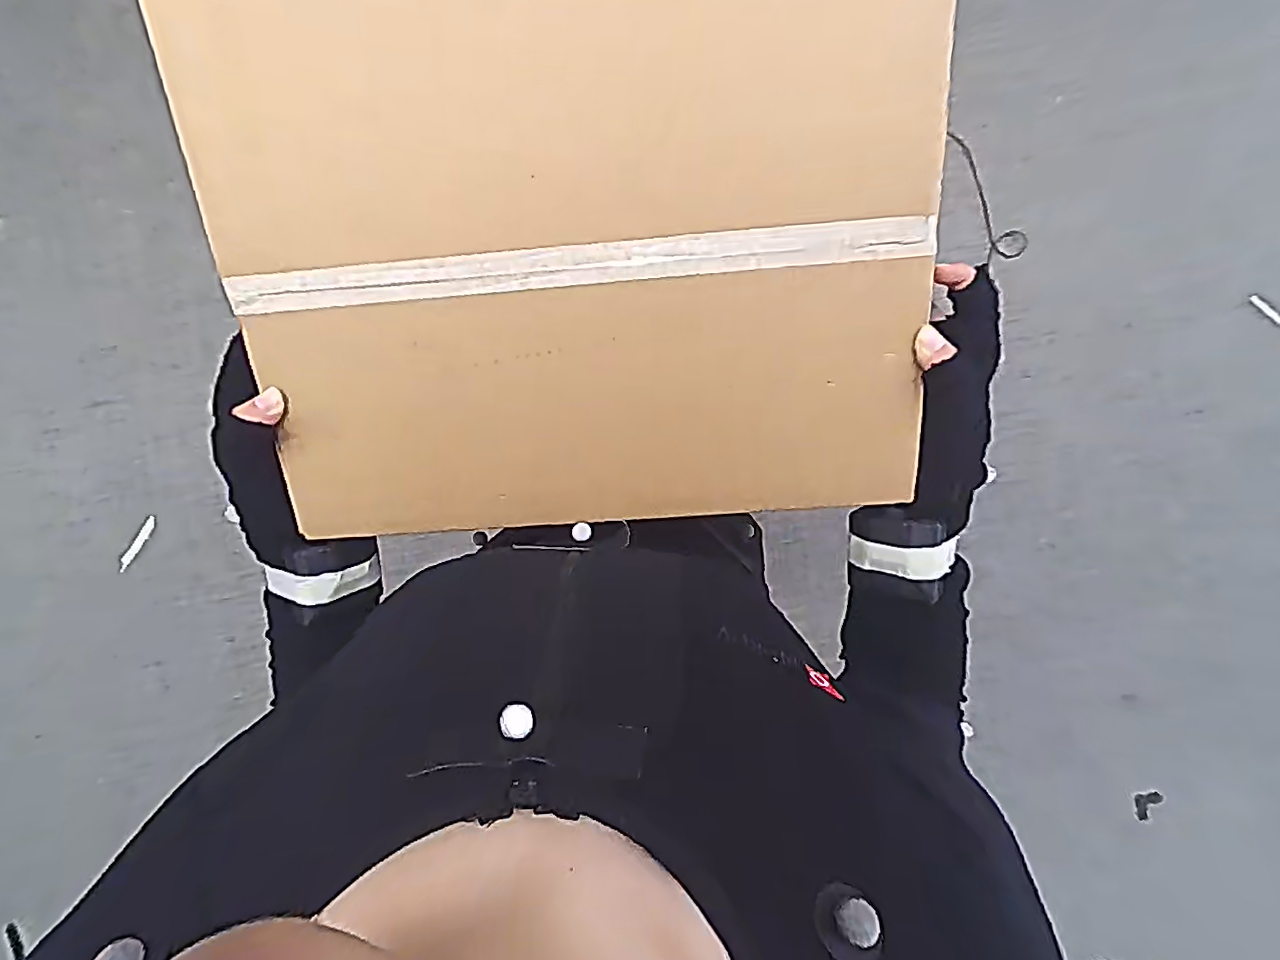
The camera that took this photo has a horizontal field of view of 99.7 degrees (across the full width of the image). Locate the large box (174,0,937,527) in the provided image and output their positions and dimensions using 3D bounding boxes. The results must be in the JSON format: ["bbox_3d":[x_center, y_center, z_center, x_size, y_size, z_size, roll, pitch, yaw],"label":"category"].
[{"bbox_3d":[-0.035,-0.173,0.459,0.408,0.320,0.320,-4,109,2],"label":"large box"}]
